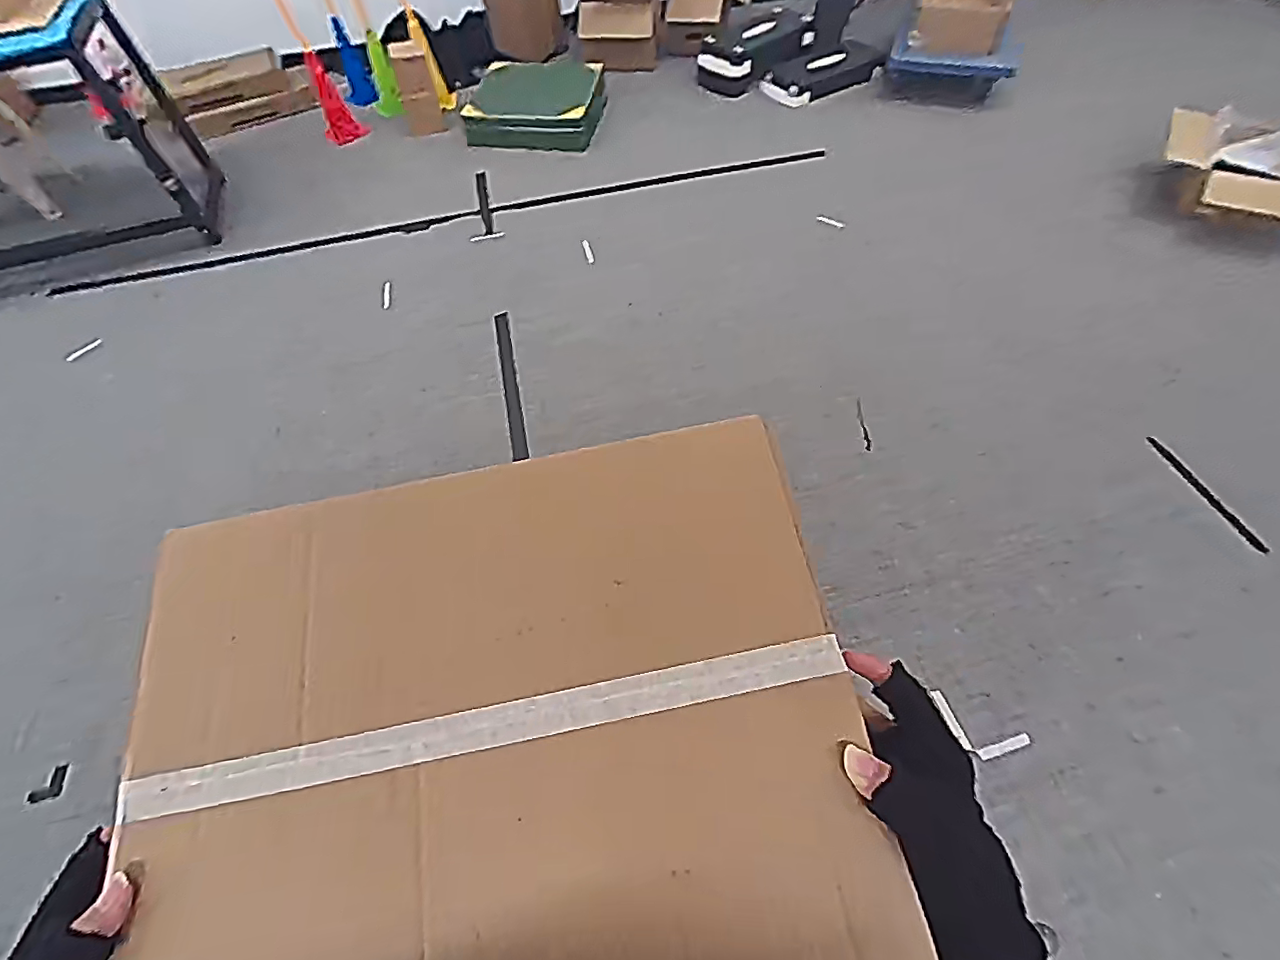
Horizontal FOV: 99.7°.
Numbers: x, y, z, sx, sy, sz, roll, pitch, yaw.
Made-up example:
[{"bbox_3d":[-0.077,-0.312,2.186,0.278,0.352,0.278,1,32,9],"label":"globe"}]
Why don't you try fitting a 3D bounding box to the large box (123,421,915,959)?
[{"bbox_3d":[-0.076,0.190,0.450,0.408,0.320,0.320,-11,68,0],"label":"large box"}]
